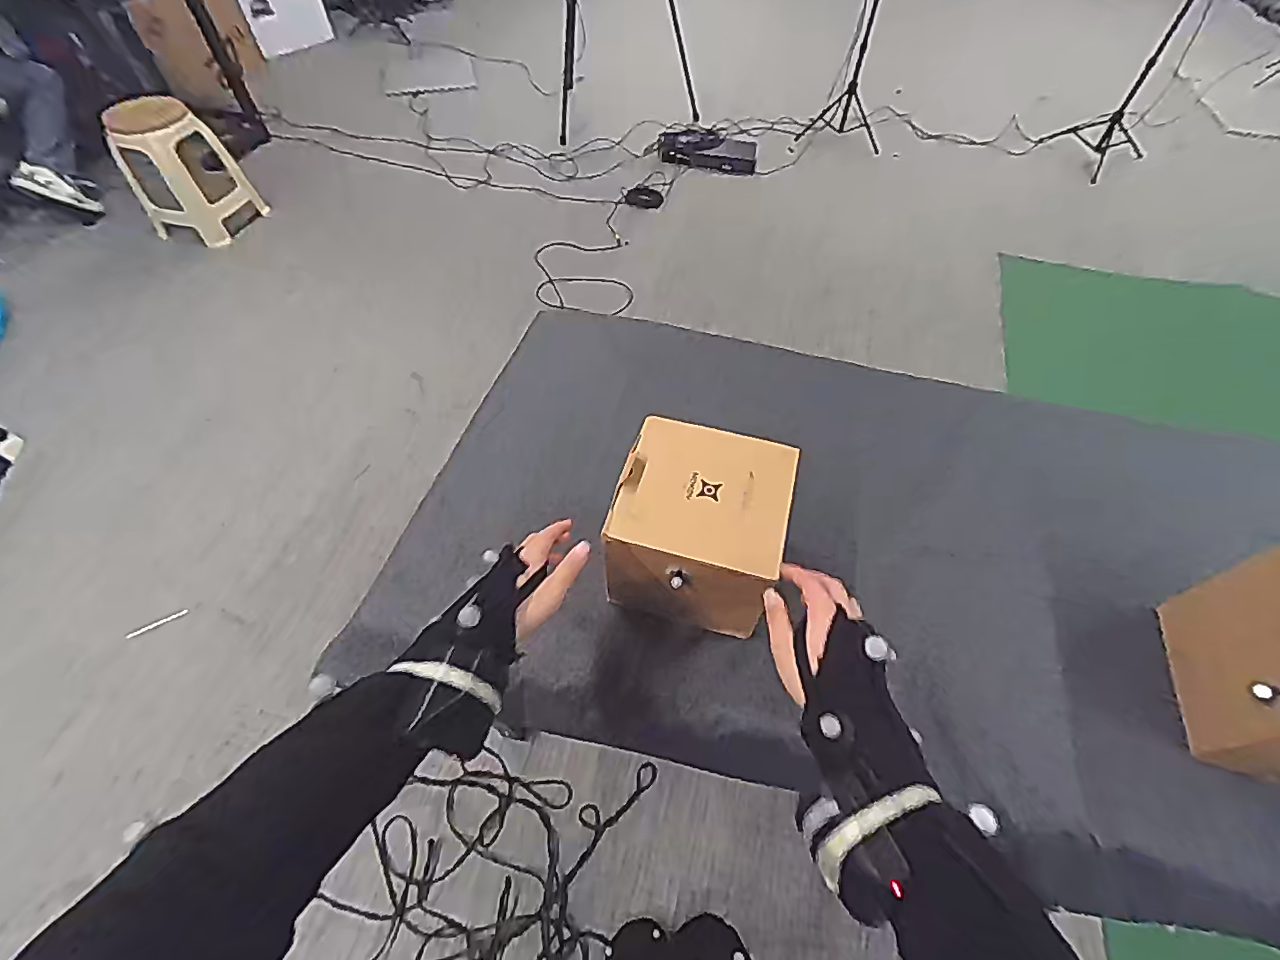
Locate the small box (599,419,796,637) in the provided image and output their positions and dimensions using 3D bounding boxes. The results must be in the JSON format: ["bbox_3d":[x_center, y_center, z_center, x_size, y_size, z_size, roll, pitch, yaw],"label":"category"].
[{"bbox_3d":[0.063,0.060,0.618,0.179,0.176,0.168,14,56,8],"label":"small box"}]
